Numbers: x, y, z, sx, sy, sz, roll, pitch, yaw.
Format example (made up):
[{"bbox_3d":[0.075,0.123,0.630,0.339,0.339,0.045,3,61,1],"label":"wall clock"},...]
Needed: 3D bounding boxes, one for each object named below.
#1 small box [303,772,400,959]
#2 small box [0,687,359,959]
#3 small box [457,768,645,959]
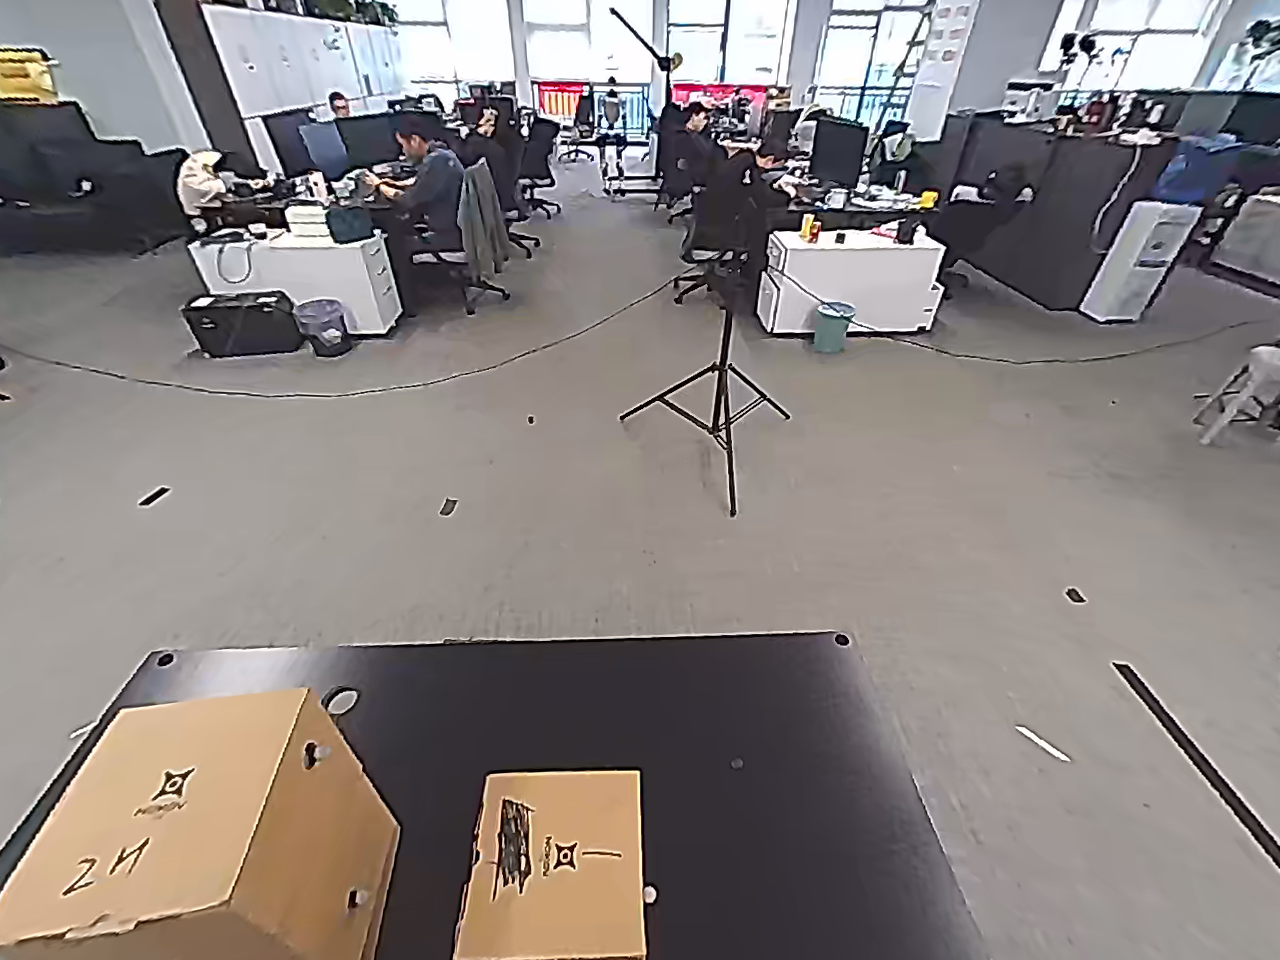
[{"bbox_3d":[-0.384,0.456,0.595,0.168,0.176,0.179,-4,38,-5],"label":"small box"},{"bbox_3d":[-0.382,0.322,0.497,0.168,0.176,0.179,-5,38,-6],"label":"small box"},{"bbox_3d":[-0.084,0.447,0.607,0.179,0.176,0.168,0,38,-2],"label":"small box"}]
